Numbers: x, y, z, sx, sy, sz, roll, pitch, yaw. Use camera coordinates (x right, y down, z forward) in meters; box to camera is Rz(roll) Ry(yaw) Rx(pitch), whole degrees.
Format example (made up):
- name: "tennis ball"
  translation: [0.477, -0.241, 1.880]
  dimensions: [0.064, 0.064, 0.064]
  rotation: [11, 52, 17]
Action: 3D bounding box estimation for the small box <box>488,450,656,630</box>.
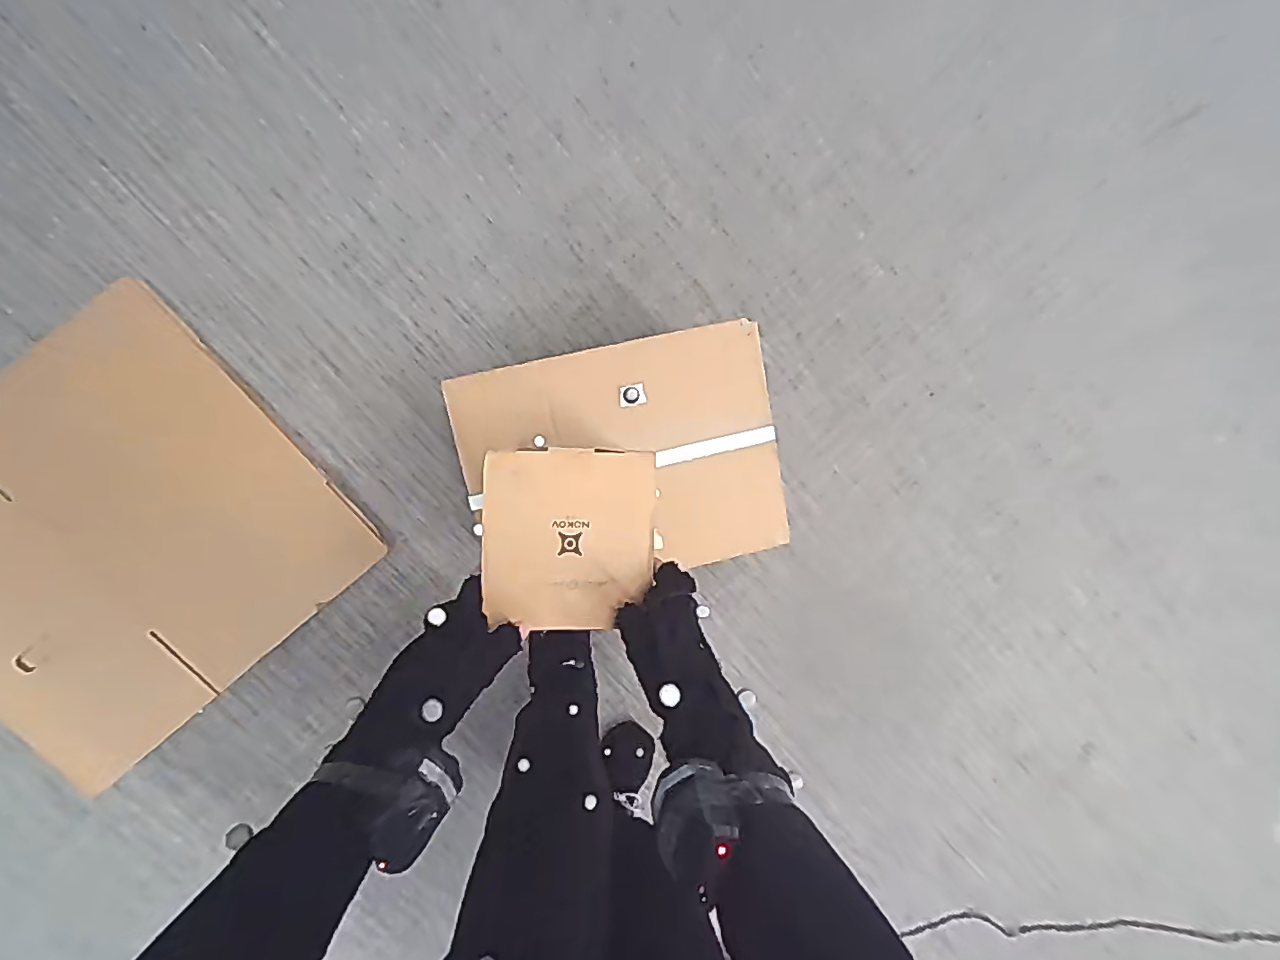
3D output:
- name: "small box"
  translation: [-0.074, 0.058, 0.608]
  dimensions: [0.168, 0.176, 0.179]
  rotation: [0, 92, -5]
